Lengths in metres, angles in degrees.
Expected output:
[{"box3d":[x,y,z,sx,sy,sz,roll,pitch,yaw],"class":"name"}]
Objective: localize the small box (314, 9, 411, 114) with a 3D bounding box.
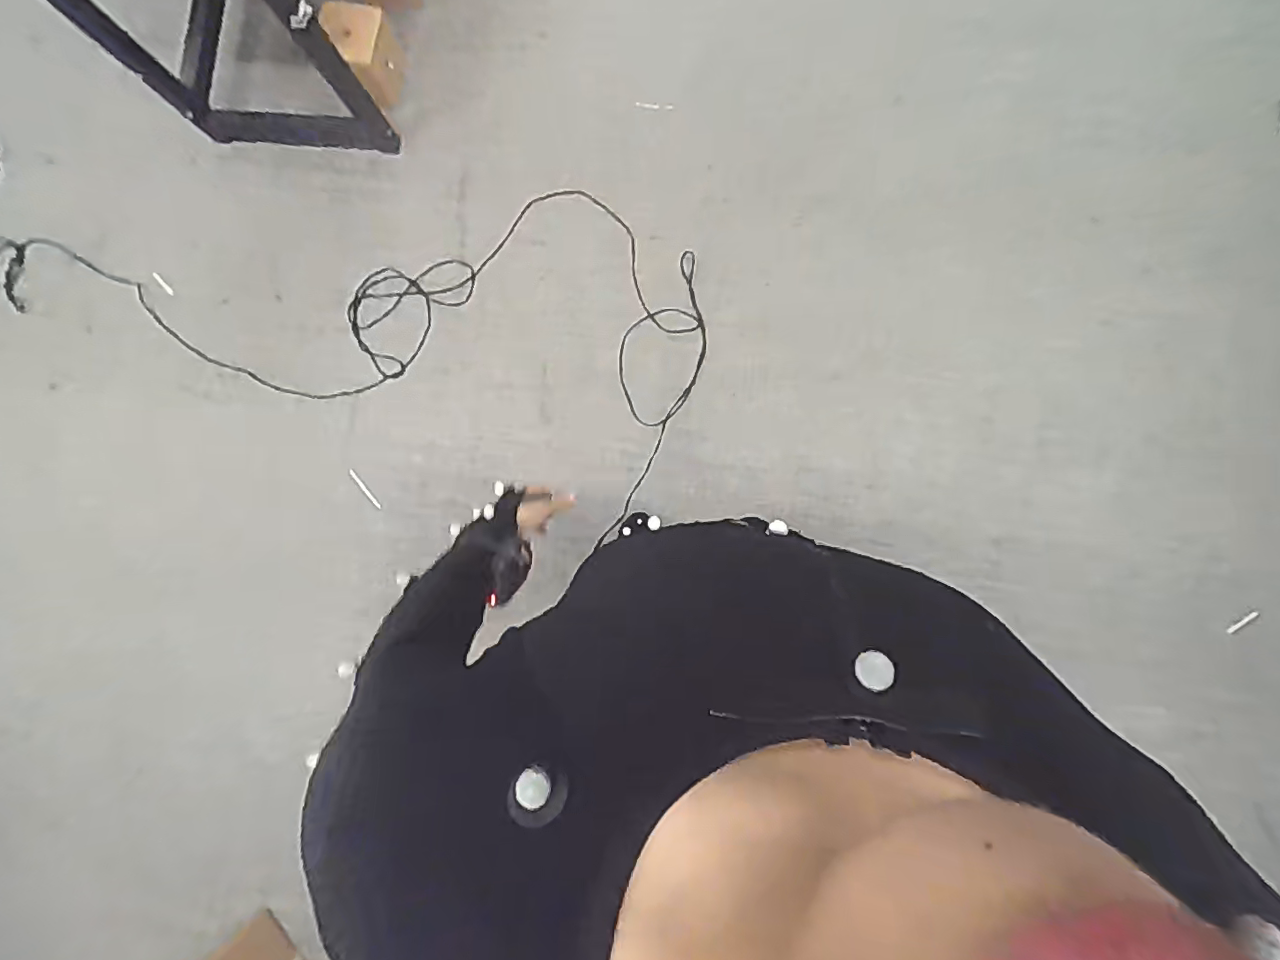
[{"box3d":[-0.786,-1.192,1.552,0.179,0.176,0.168,10,87,3],"class":"small box"}]
